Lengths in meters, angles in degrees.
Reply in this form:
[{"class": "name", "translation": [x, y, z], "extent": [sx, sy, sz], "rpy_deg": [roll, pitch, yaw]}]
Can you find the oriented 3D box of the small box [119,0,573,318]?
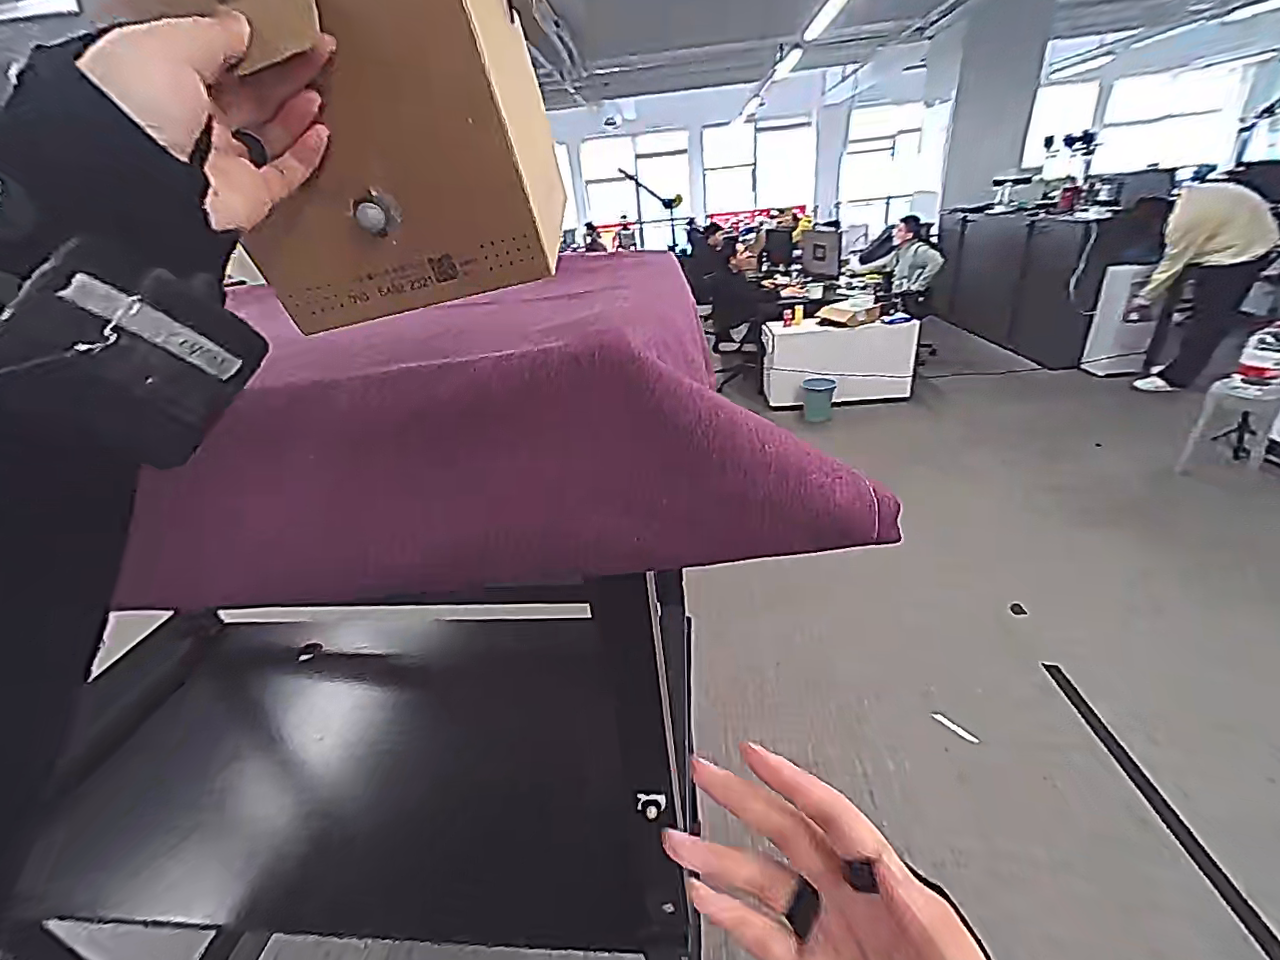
[{"class": "small box", "translation": [-0.145, -0.225, 0.343], "extent": [0.168, 0.176, 0.179], "rpy_deg": [-11, 40, 6]}]
